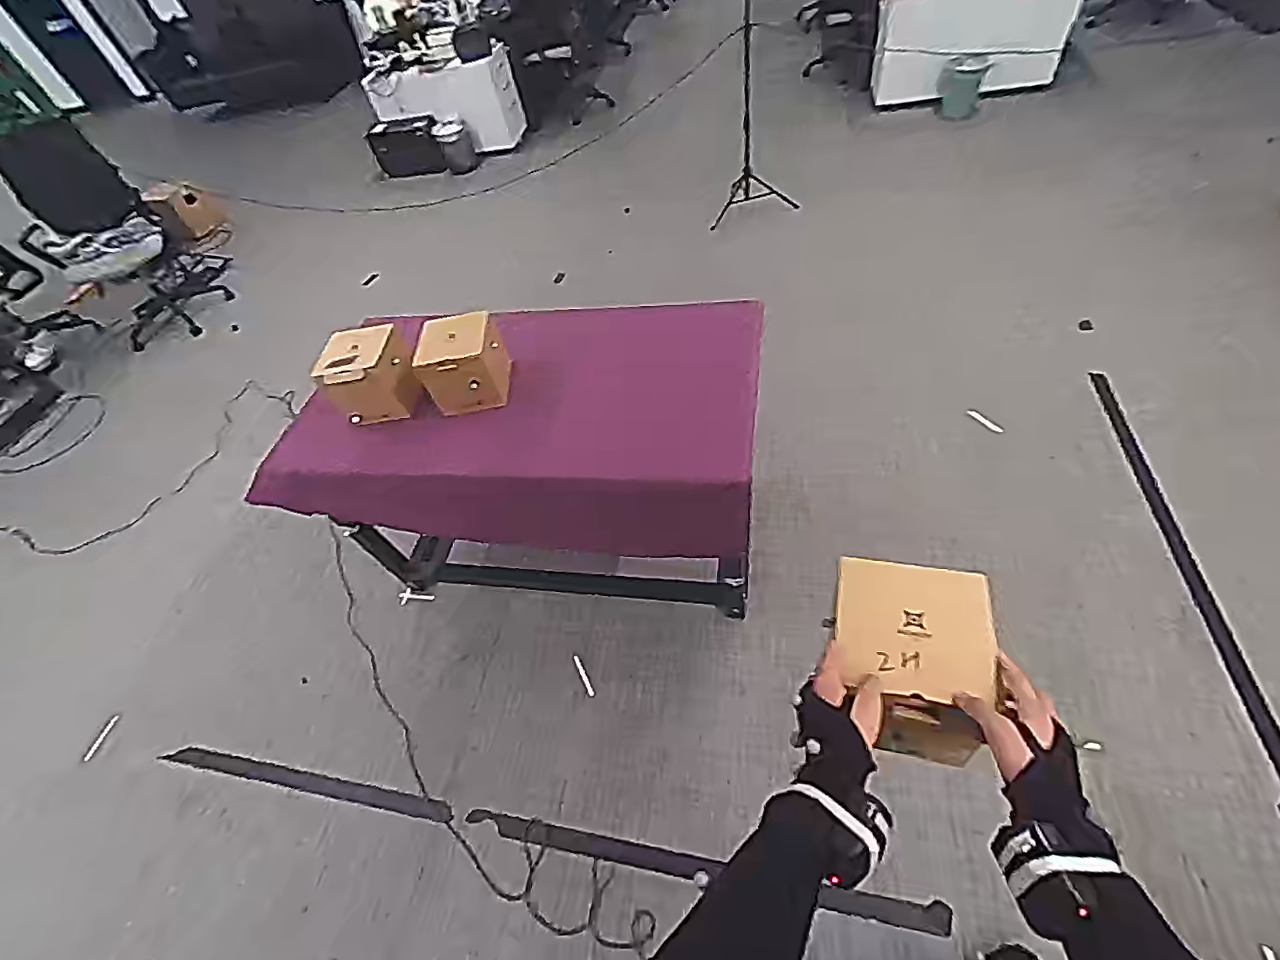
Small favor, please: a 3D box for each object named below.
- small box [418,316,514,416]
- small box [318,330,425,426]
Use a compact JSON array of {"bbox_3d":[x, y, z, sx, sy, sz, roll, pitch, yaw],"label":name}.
[{"bbox_3d":[-0.426,-0.276,1.351,0.168,0.176,0.179,-8,51,5],"label":"small box"},{"bbox_3d":[-0.674,-0.253,1.385,0.168,0.176,0.179,-7,51,6],"label":"small box"}]
